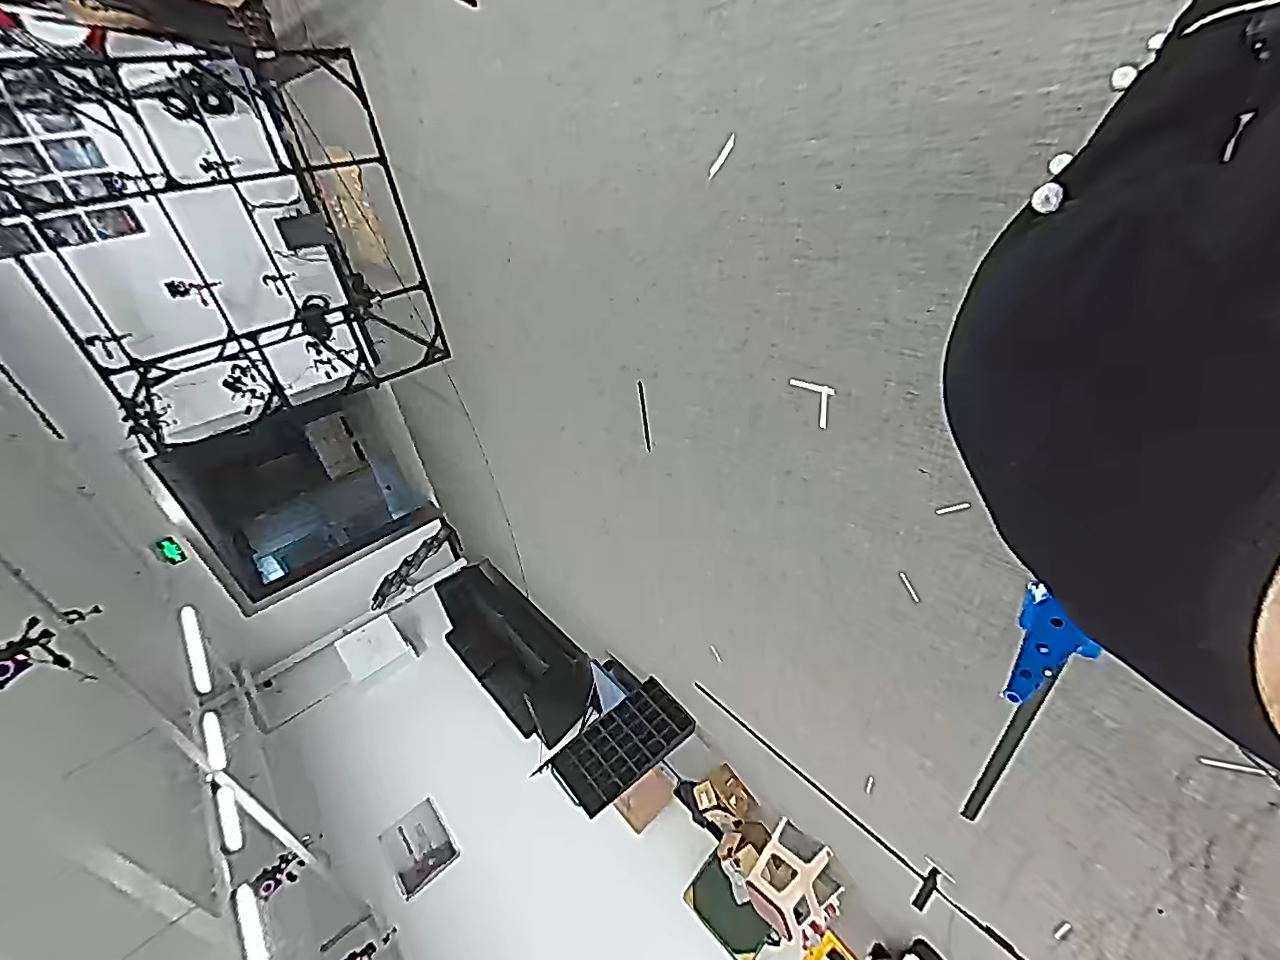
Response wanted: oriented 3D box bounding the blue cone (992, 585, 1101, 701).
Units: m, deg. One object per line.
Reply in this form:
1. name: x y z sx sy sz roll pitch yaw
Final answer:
1. blue cone: 1.067 0.474 1.468 0.192 0.380 0.193 27 137 44
